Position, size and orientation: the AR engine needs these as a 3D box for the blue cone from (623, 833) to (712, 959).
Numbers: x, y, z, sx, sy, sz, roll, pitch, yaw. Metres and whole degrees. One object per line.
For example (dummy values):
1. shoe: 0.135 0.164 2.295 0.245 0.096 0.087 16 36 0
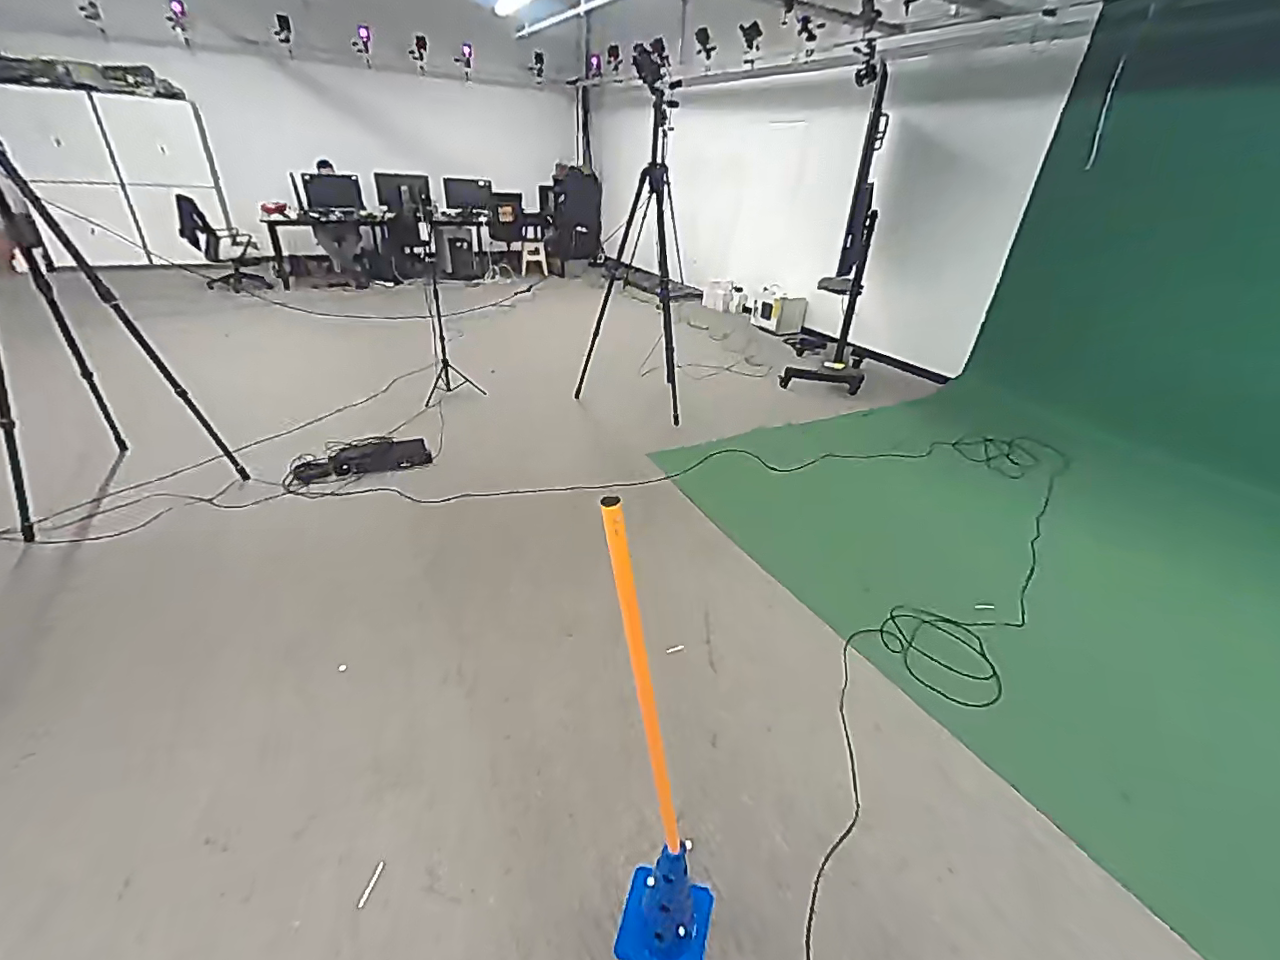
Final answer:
1. blue cone: 0.068 0.884 1.160 0.193 0.380 0.192 9 32 13
